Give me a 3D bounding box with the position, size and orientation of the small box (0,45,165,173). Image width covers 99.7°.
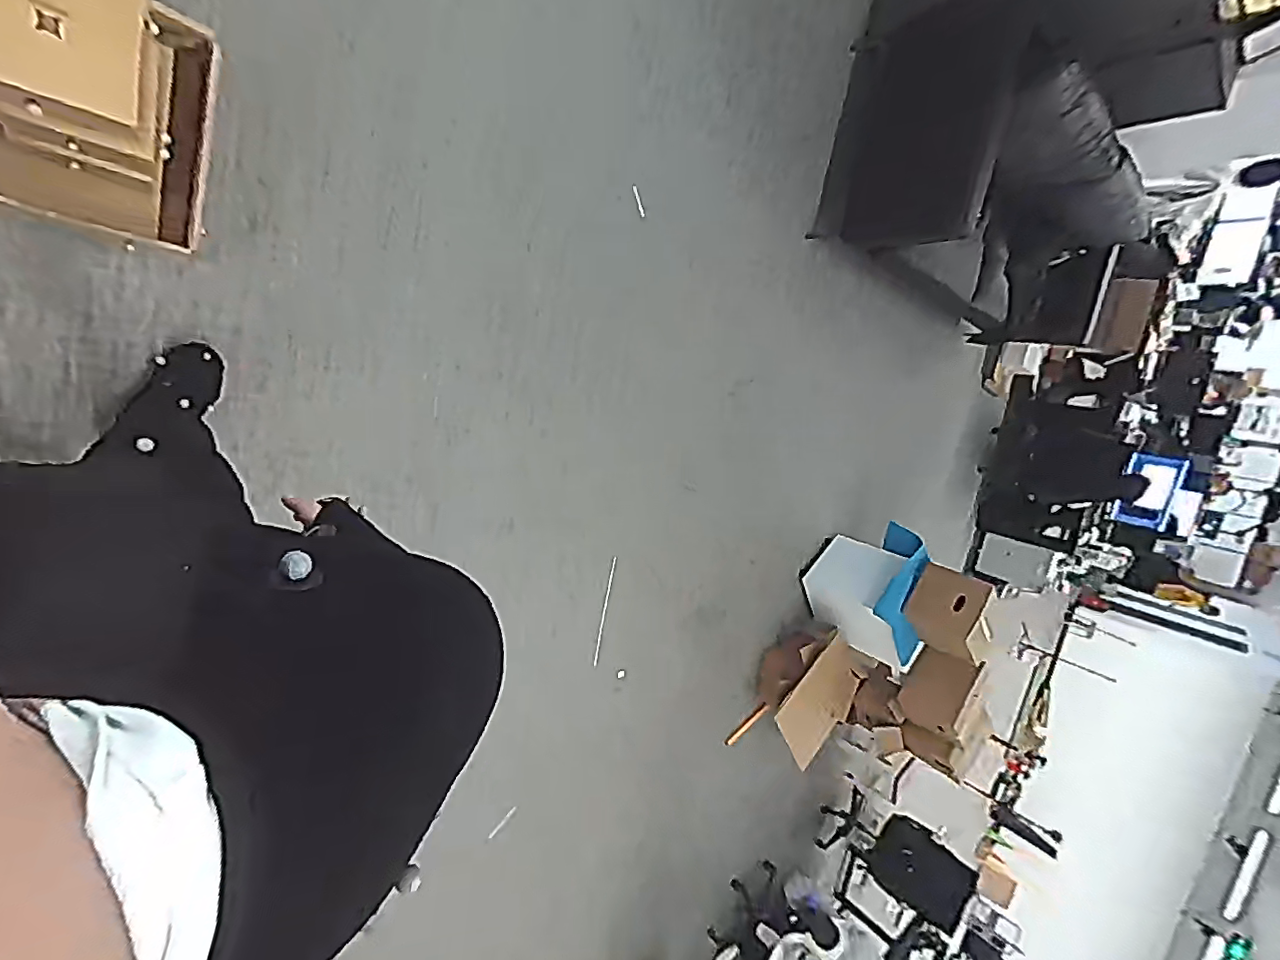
[{"bbox_3d":[-0.856,-0.598,0.832,0.179,0.176,0.168,4,103,-41],"label":"small box"}]

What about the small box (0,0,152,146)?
[{"bbox_3d":[-0.756,-0.572,0.707,0.168,0.176,0.179,3,103,-40],"label":"small box"}]
